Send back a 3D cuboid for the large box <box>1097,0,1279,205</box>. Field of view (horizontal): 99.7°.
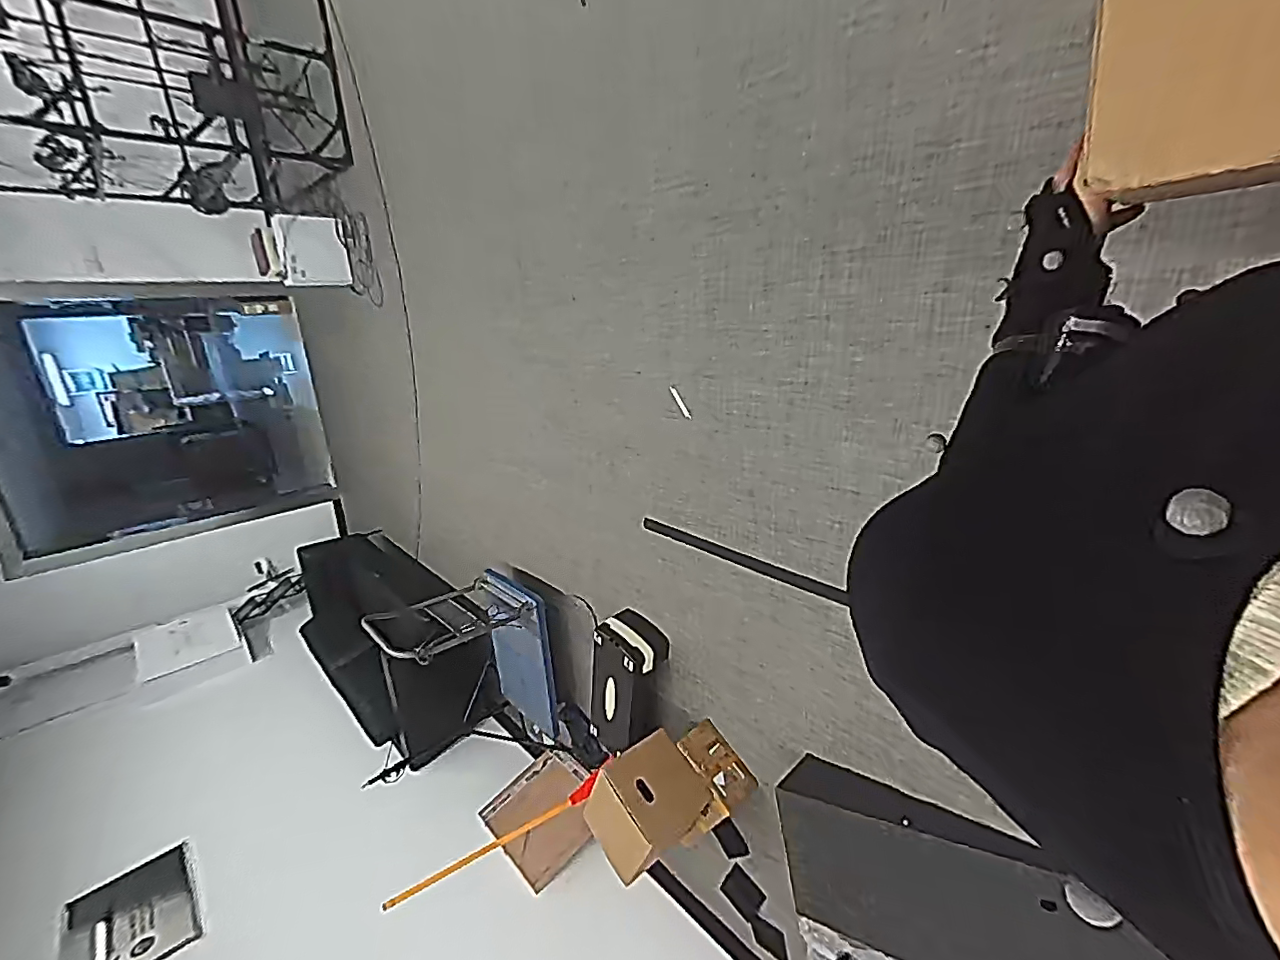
[{"bbox_3d":[0.437,-0.313,0.186,0.408,0.320,0.320,8,115,41],"label":"large box"}]
